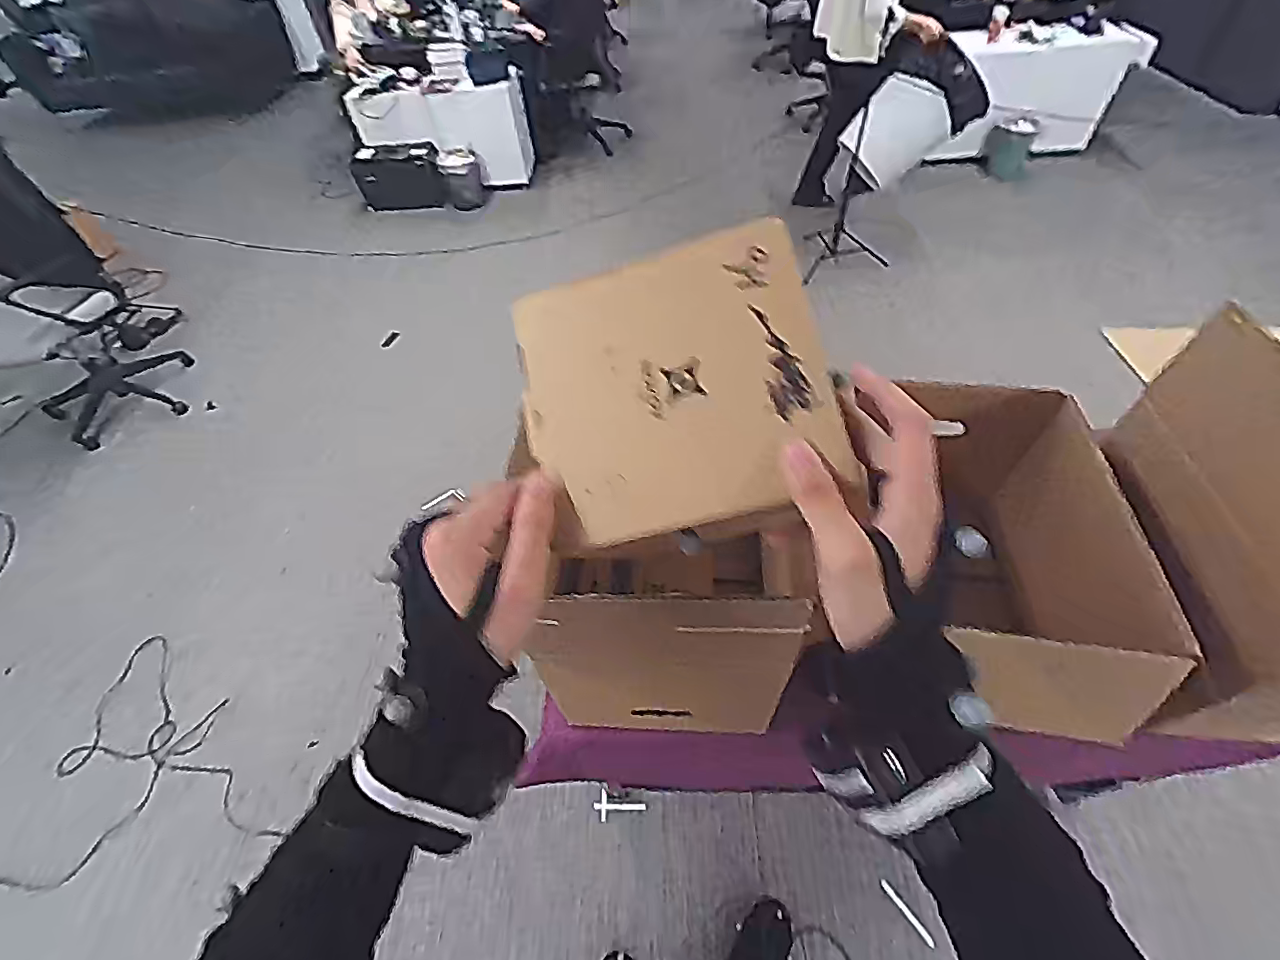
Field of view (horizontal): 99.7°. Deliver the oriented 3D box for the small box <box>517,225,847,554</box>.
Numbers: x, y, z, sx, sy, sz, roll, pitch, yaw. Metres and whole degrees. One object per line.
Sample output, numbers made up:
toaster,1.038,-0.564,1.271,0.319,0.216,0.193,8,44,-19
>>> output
small box,0.033,-0.043,0.399,0.179,0.176,0.168,-14,78,10
